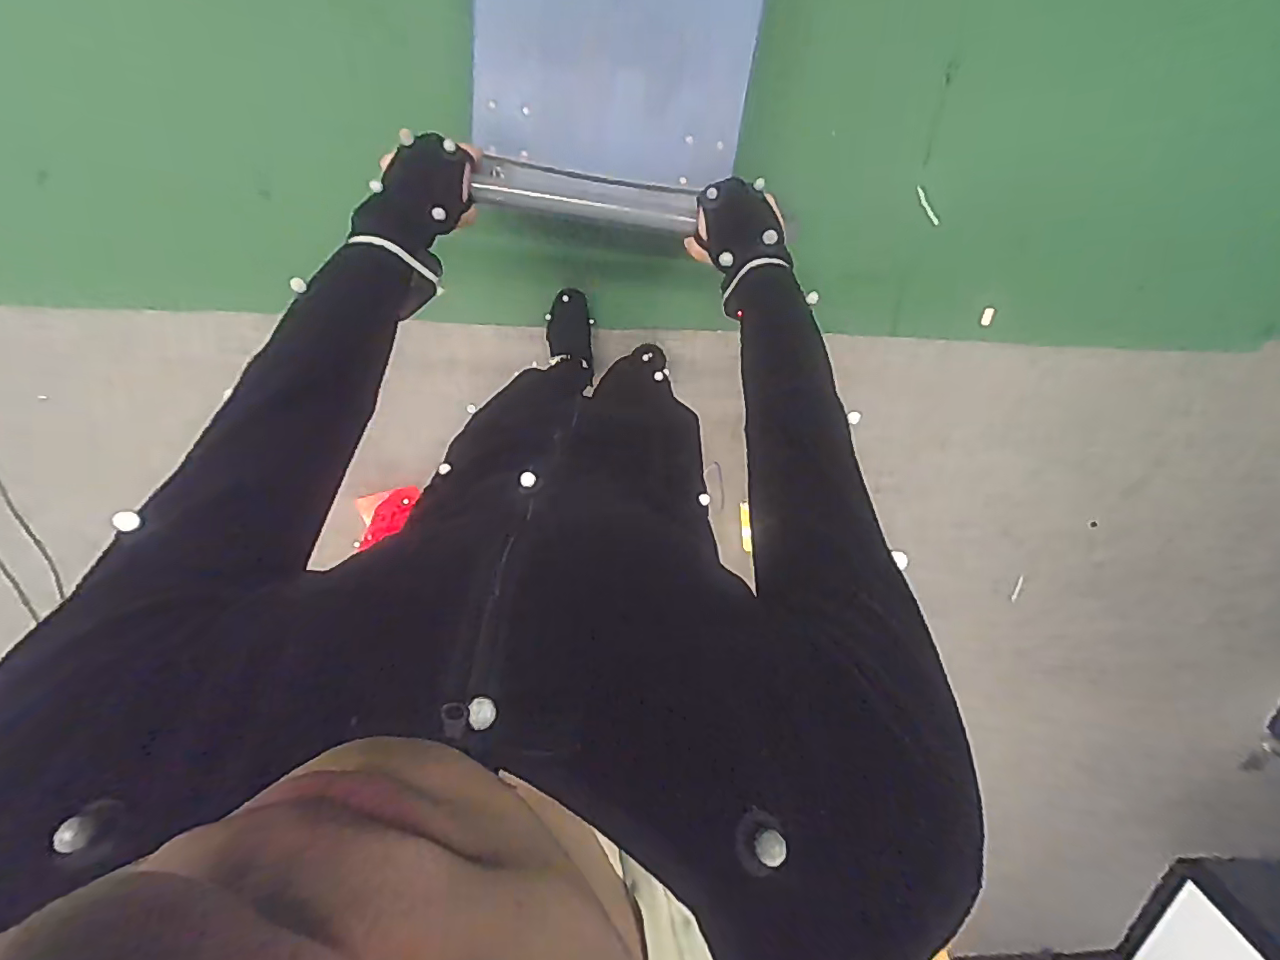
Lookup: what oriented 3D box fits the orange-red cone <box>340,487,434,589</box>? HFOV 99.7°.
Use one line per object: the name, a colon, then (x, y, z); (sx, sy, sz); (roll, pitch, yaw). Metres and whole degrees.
orange-red cone: (-0.747, 0.189, 1.518); (0.199, 0.360, 0.198); (-12, 113, 2)
